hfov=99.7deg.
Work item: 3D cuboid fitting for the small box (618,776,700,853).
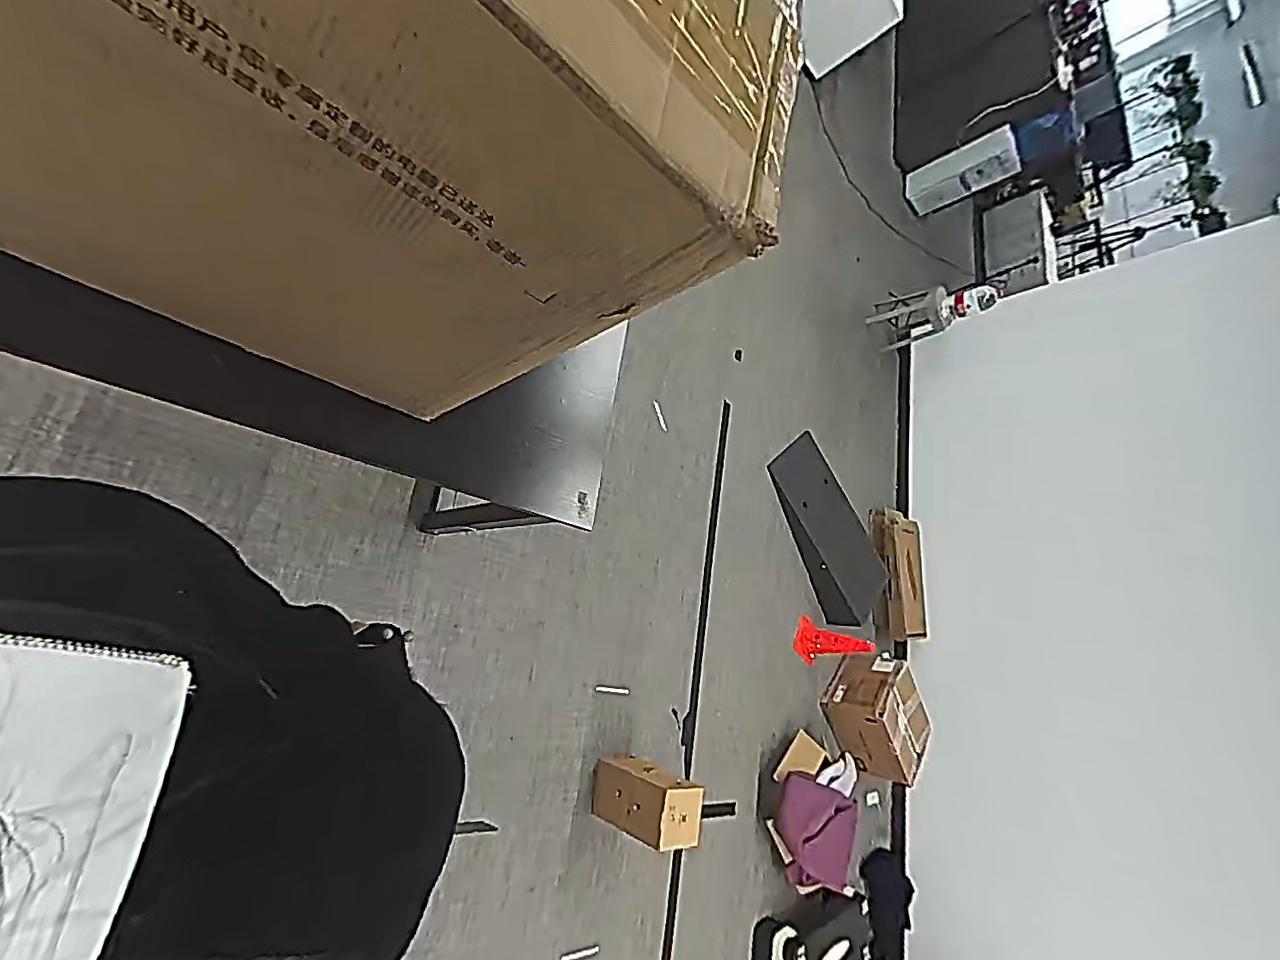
[{"bbox_3d":[0.060,1.042,1.699,0.179,0.176,0.168,24,68,-38],"label":"small box"}]

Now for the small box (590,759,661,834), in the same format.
[{"bbox_3d":[-0.051,1.055,1.820,0.168,0.176,0.179,20,71,-40],"label":"small box"}]
